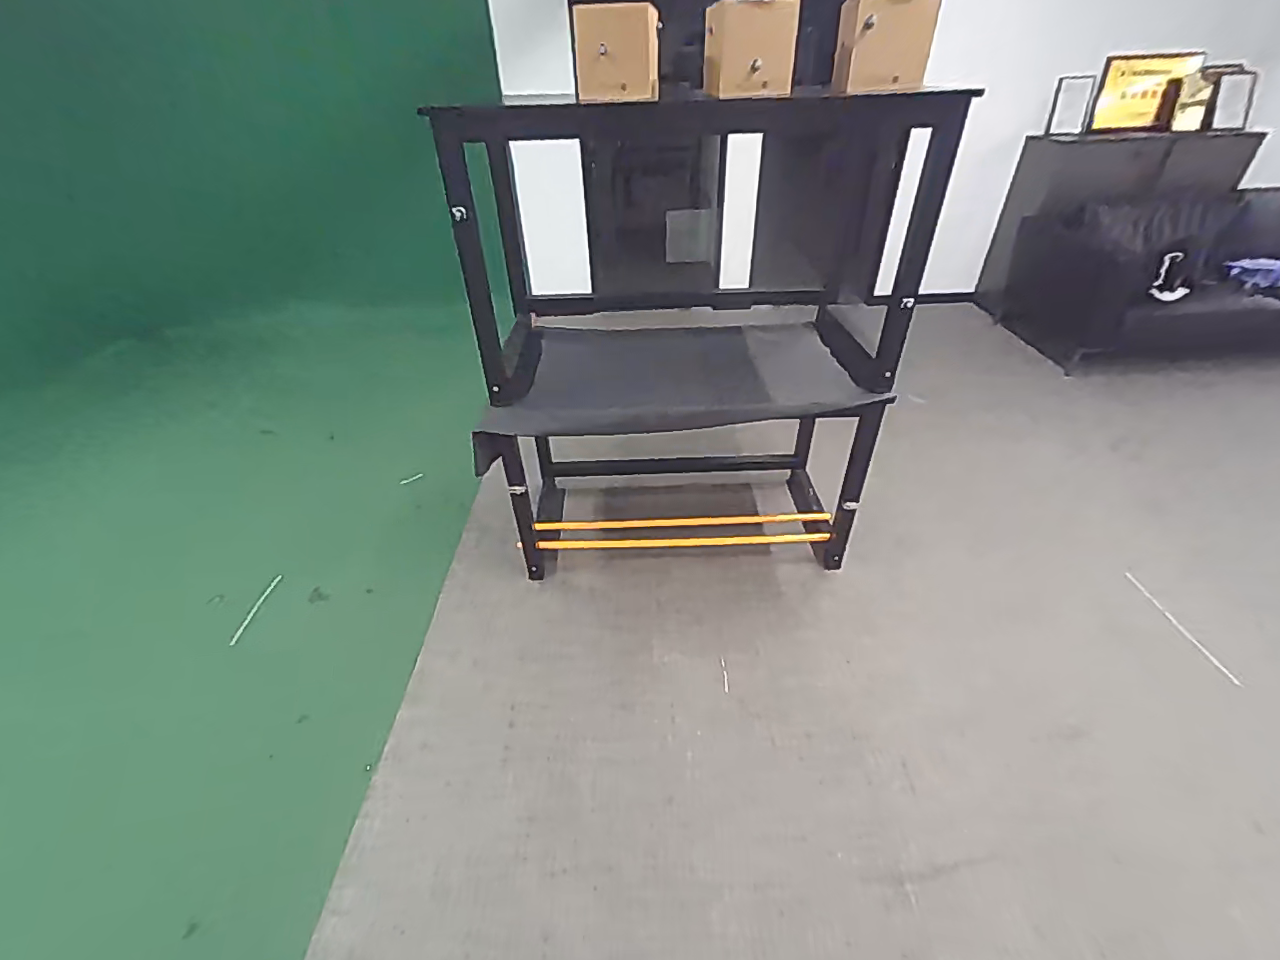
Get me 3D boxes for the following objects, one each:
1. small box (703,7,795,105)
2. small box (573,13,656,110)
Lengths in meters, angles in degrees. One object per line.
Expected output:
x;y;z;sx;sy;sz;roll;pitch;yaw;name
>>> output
0.242;-0.974;1.251;0.168;0.176;0.179;-5;37;-4;small box
-0.051;-0.972;1.266;0.168;0.176;0.179;3;36;6;small box
